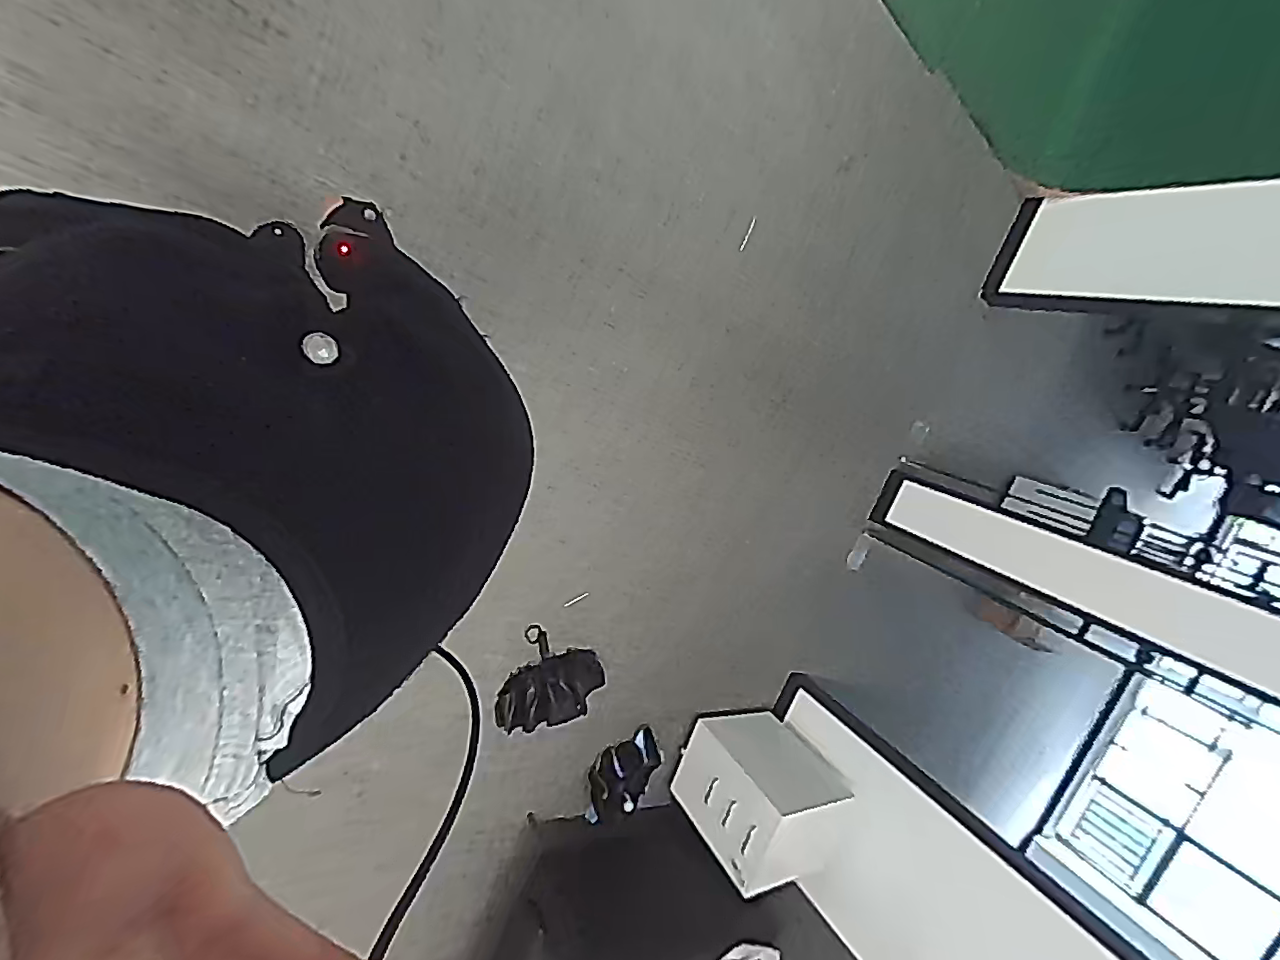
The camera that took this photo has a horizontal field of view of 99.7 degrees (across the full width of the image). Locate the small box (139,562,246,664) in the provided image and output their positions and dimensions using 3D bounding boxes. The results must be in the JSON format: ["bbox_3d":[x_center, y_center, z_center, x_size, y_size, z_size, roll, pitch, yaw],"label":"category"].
[{"bbox_3d":[-1.065,0.319,1.300,0.168,0.176,0.179,13,100,-37],"label":"small box"}]
